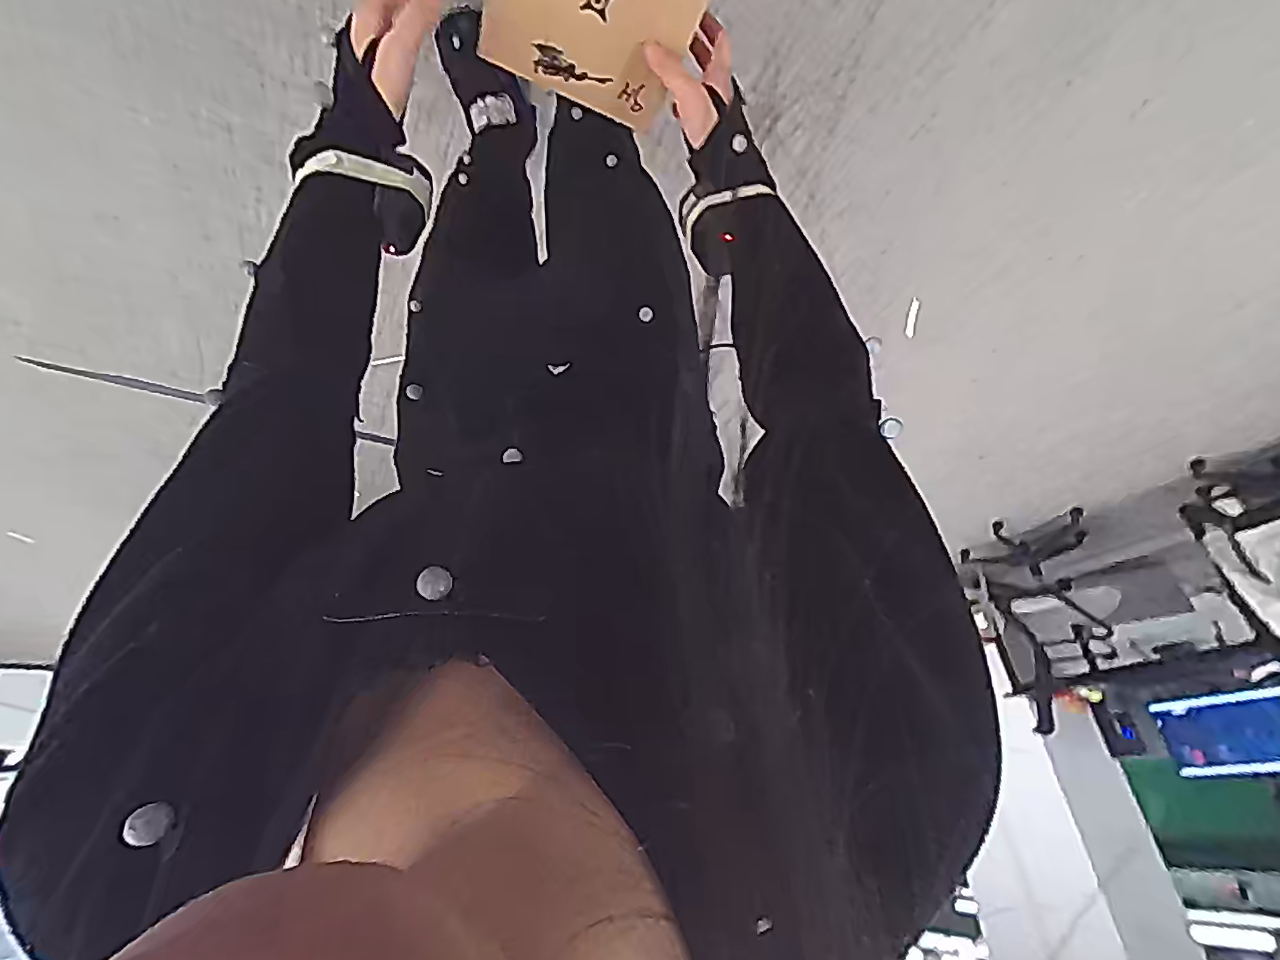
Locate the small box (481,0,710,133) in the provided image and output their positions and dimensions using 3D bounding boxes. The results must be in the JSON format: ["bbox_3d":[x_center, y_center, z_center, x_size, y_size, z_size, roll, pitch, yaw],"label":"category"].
[{"bbox_3d":[-0.033,-0.461,0.470,0.168,0.176,0.179,11,146,-23],"label":"small box"}]
